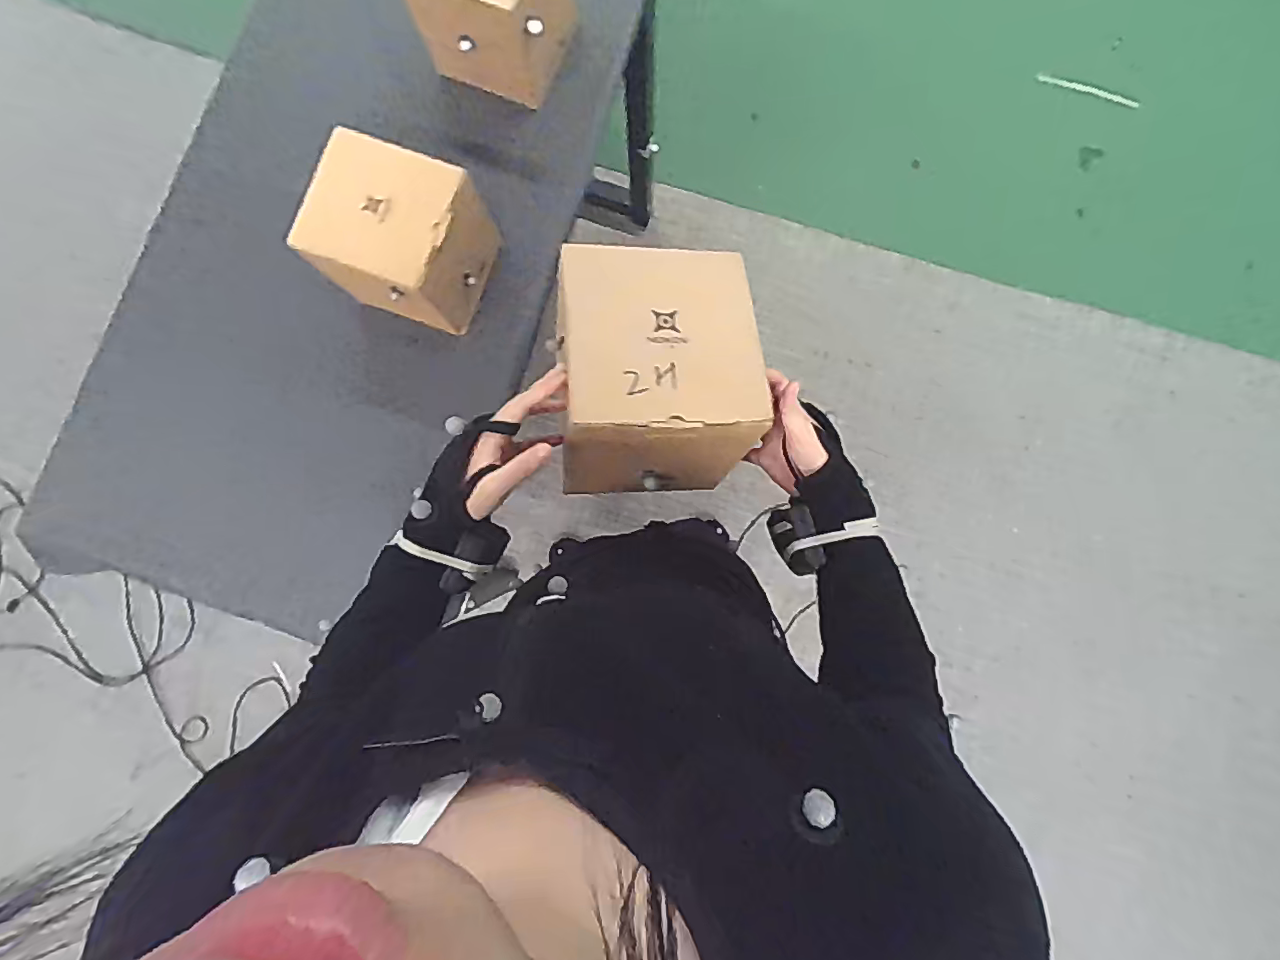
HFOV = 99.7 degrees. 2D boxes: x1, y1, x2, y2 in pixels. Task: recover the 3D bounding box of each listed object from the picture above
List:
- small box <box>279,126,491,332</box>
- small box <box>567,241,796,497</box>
[{"bbox_3d":[-0.327,-0.323,0.732,0.179,0.176,0.168,19,84,0],"label":"small box"},{"bbox_3d":[0.022,-0.094,0.518,0.168,0.176,0.179,-1,69,-13],"label":"small box"}]
